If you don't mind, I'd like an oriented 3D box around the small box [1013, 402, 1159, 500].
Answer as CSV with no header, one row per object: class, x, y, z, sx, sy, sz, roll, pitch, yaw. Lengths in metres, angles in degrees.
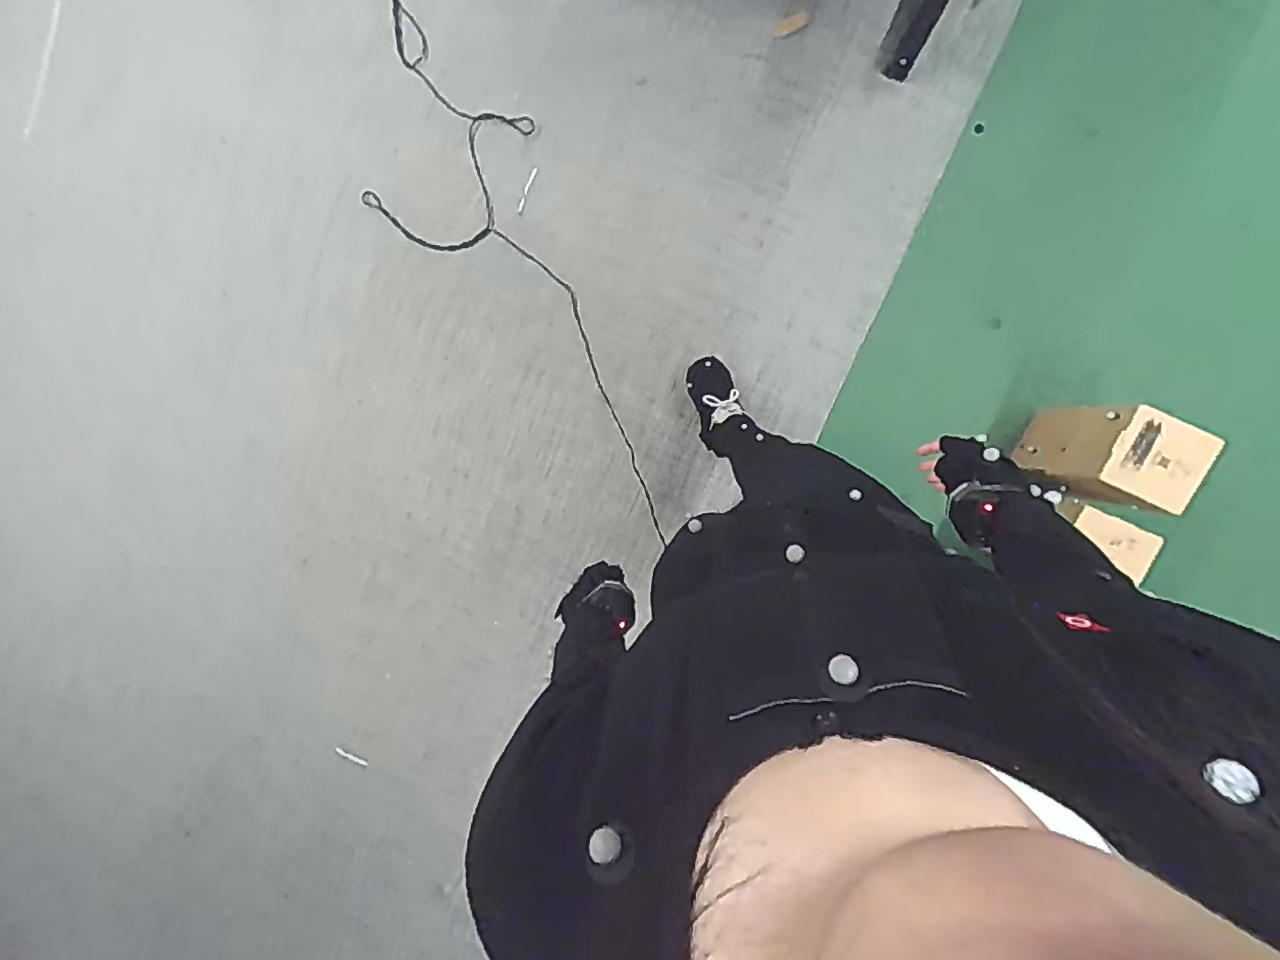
small box,1.049,-0.068,1.292,0.179,0.176,0.168,29,97,4
